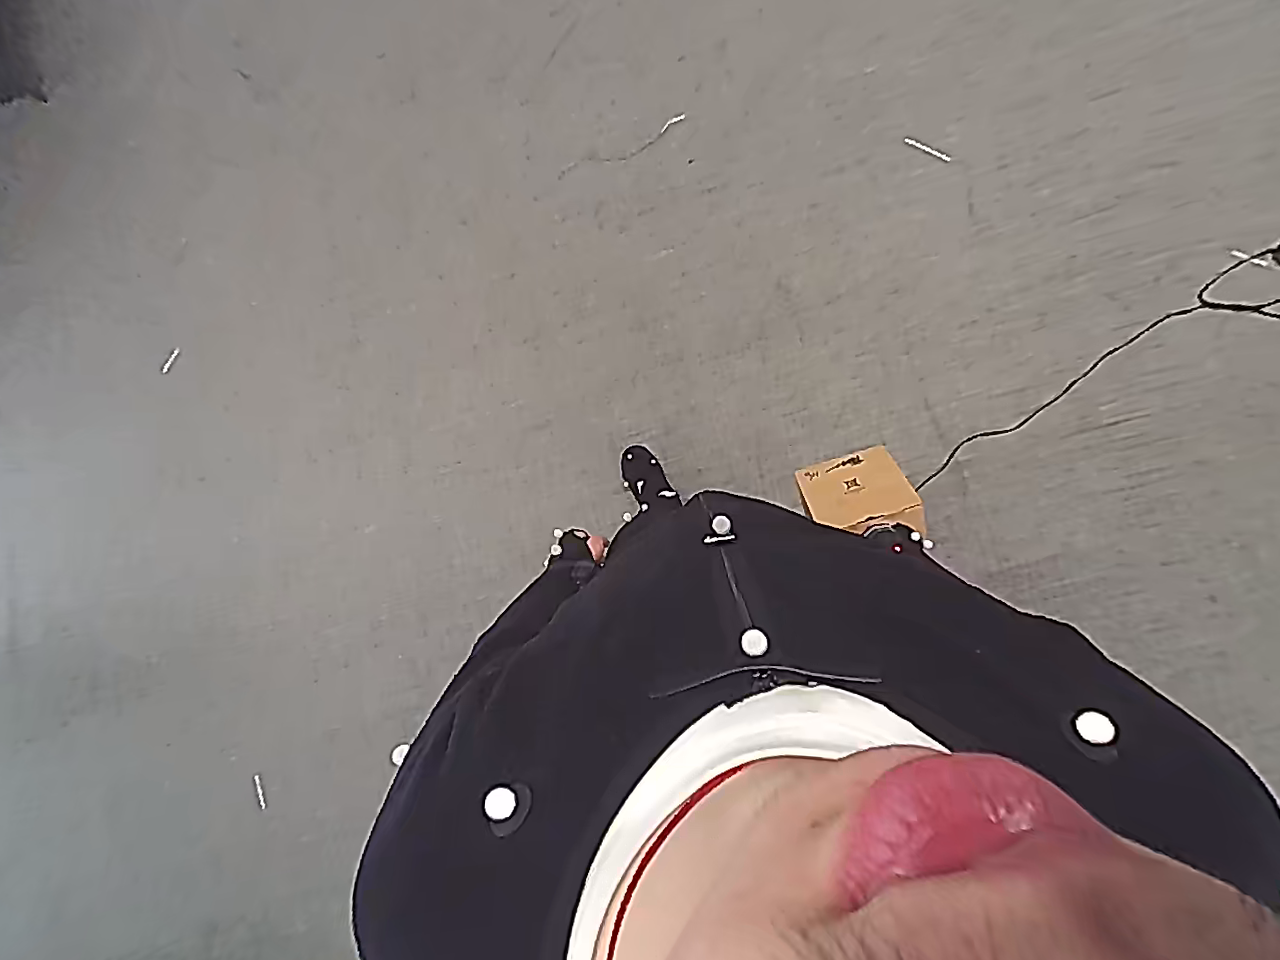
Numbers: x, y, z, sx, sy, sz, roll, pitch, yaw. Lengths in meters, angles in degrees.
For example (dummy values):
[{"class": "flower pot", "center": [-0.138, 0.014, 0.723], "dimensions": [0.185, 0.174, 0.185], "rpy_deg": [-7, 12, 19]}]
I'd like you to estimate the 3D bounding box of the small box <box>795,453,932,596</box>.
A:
[{"class": "small box", "center": [0.400, 0.087, 0.974], "dimensions": [0.168, 0.179, 0.176], "rpy_deg": [-21, 122, 12]}]
